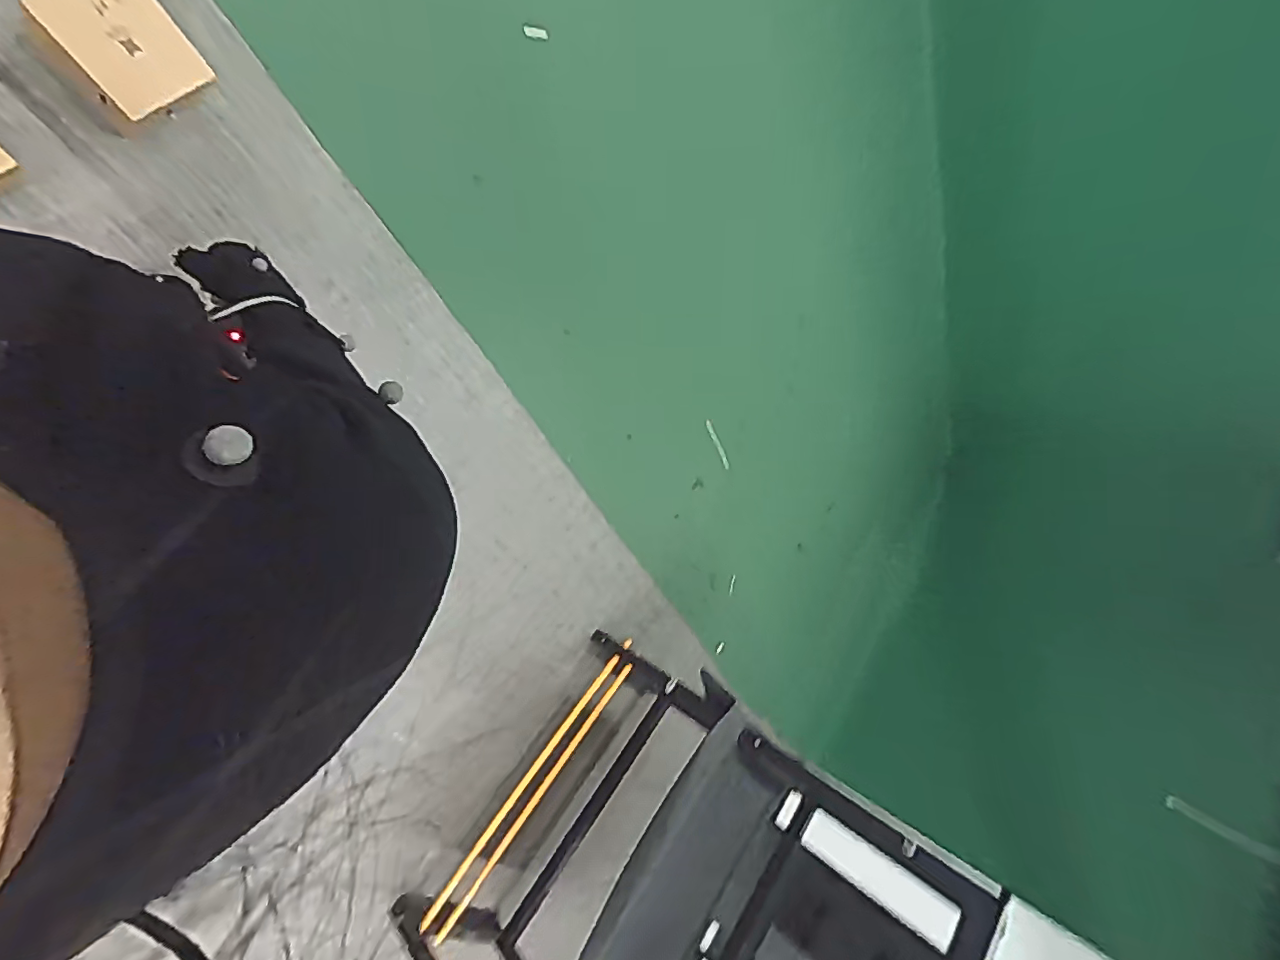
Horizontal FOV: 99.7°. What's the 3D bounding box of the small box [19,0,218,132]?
[{"bbox_3d":[-0.882,-0.728,0.926,0.168,0.176,0.179,-51,134,-21],"label":"small box"}]
